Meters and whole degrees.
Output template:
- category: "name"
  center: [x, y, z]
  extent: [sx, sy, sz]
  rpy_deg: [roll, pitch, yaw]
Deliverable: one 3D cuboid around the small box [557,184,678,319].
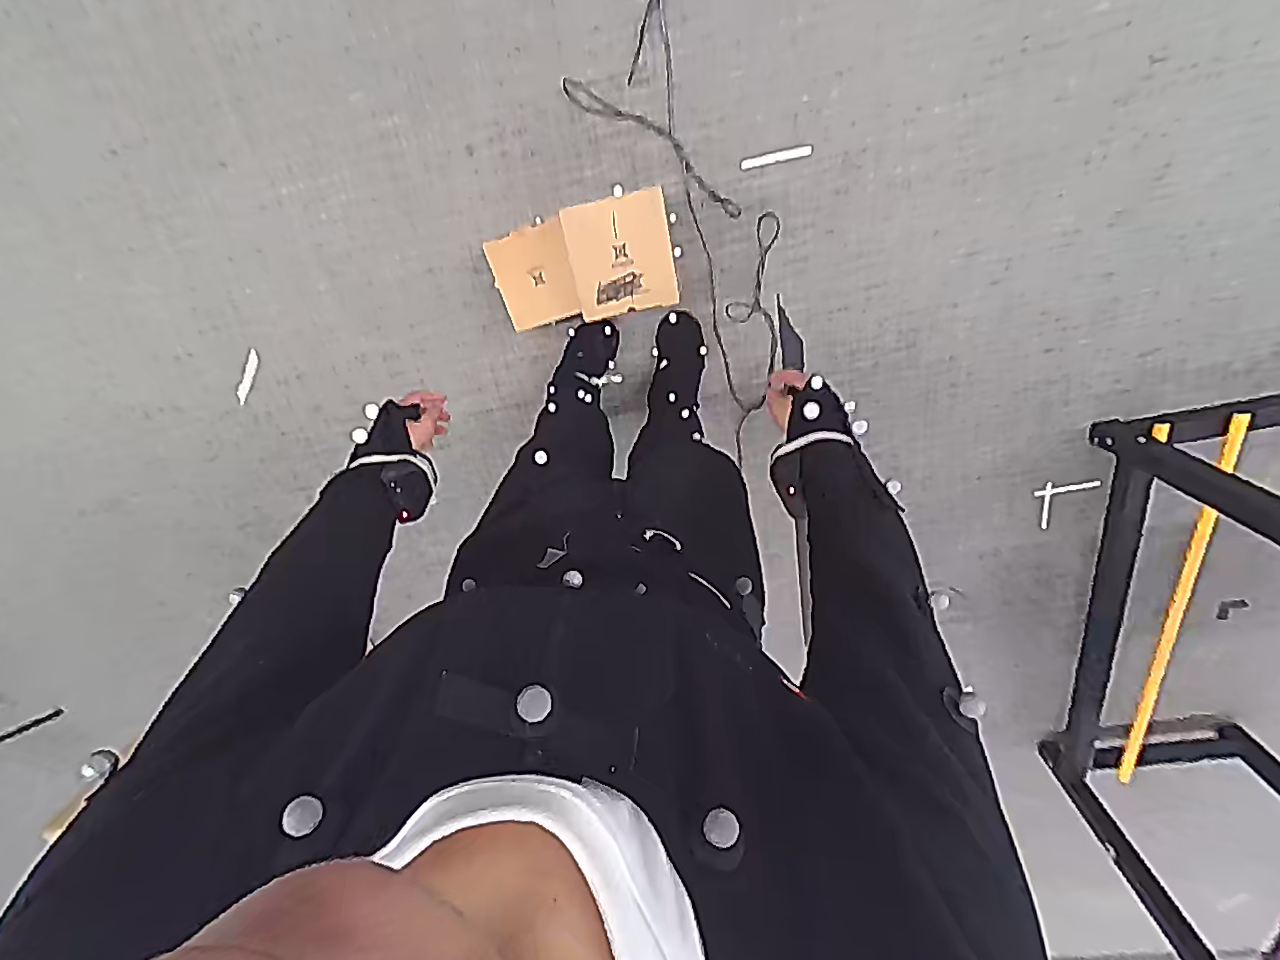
- category: "small box"
  center: [-0.028, -0.390, 0.920]
  extent: [0.168, 0.176, 0.179]
  rpy_deg: [-9, 115, 7]
